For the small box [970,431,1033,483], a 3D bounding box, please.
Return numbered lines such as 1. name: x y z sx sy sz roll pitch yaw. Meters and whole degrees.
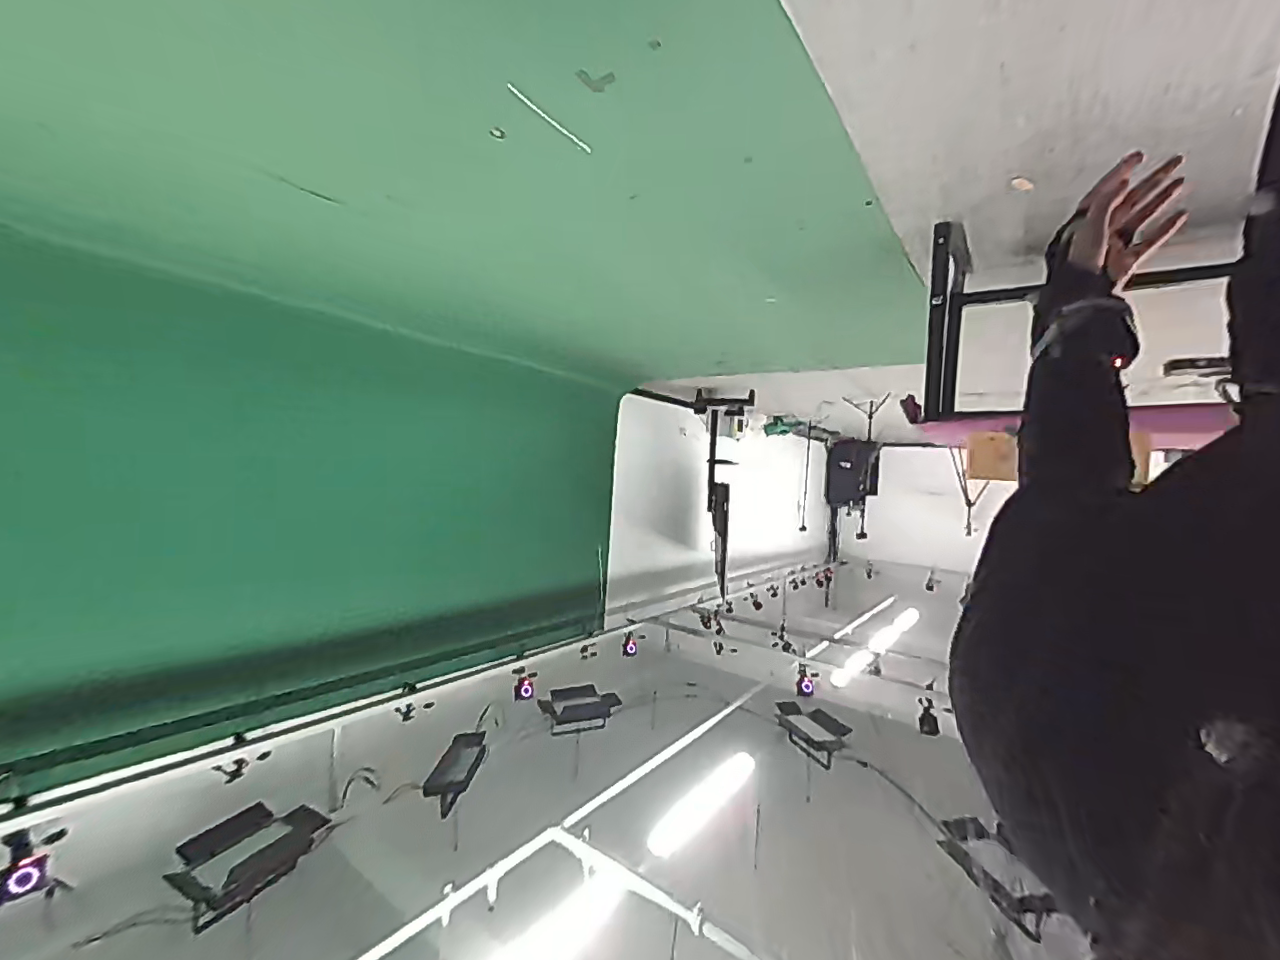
1. small box: 1.239 -0.078 1.858 0.168 0.176 0.179 3 180 29
